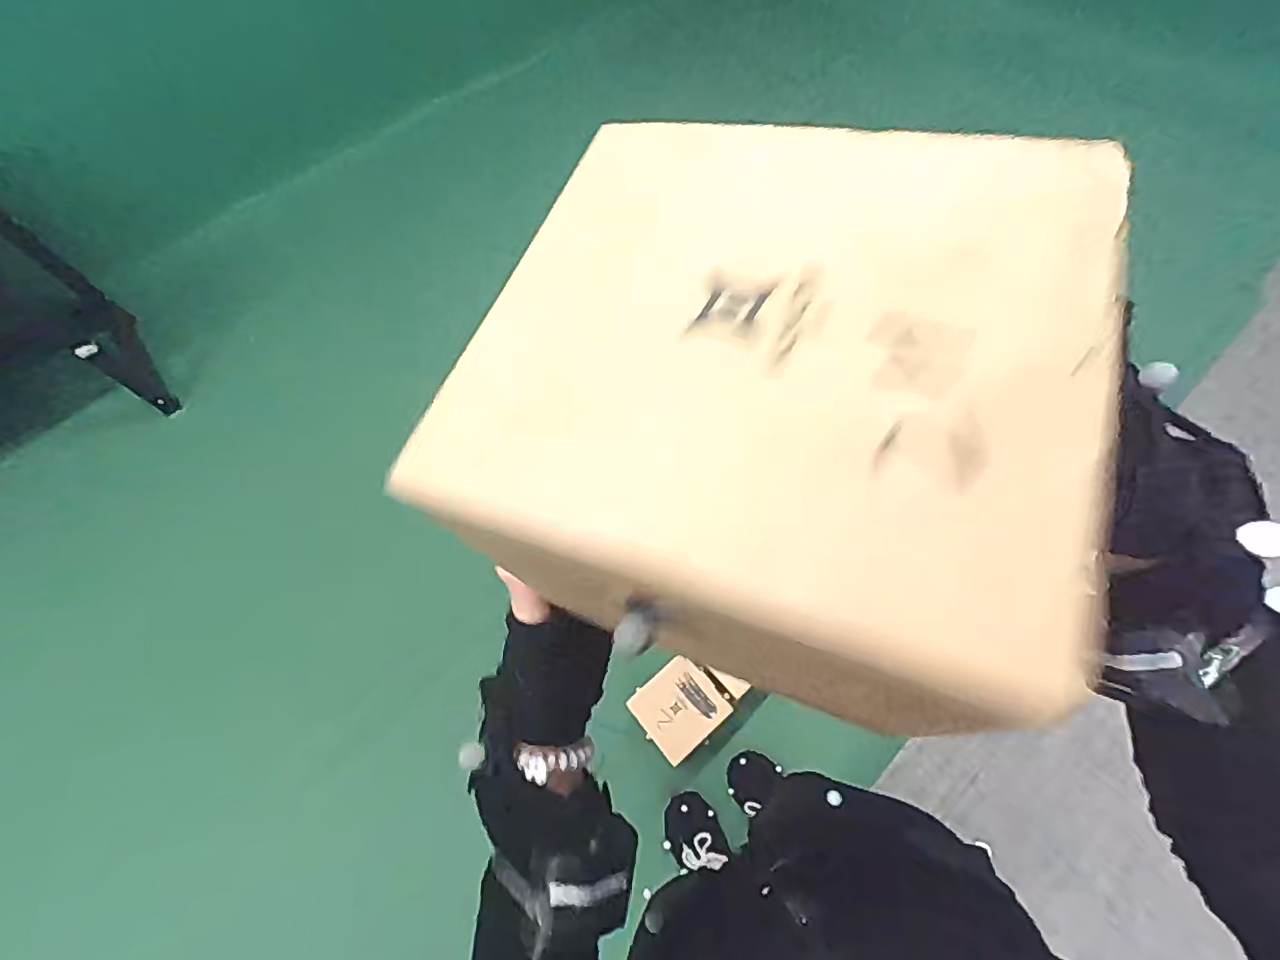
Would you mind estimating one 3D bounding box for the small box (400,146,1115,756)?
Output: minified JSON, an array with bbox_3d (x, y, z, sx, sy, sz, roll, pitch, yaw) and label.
[{"bbox_3d":[0.047,-0.006,0.236,0.179,0.176,0.168,17,75,19],"label":"small box"}]
